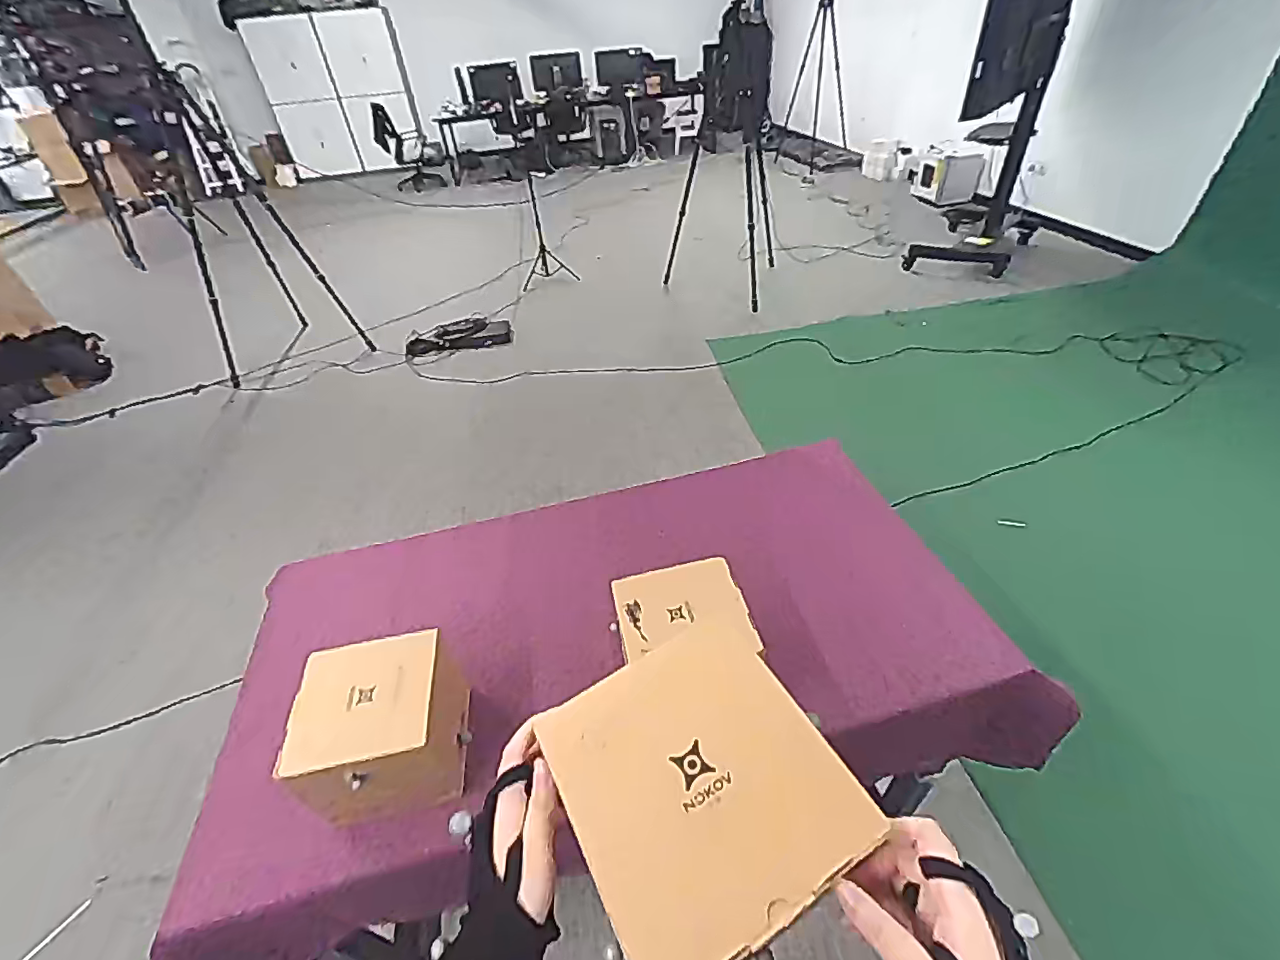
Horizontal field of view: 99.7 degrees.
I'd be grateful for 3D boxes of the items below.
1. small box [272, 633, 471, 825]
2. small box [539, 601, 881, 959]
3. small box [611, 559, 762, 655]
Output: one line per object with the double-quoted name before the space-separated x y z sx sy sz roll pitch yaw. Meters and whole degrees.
"small box" -0.345 0.339 0.735 0.179 0.176 0.168 -10 41 -6
"small box" 0.044 0.235 0.418 0.168 0.176 0.179 -28 51 -15
"small box" 0.062 0.245 0.794 0.179 0.176 0.168 -11 41 -7
